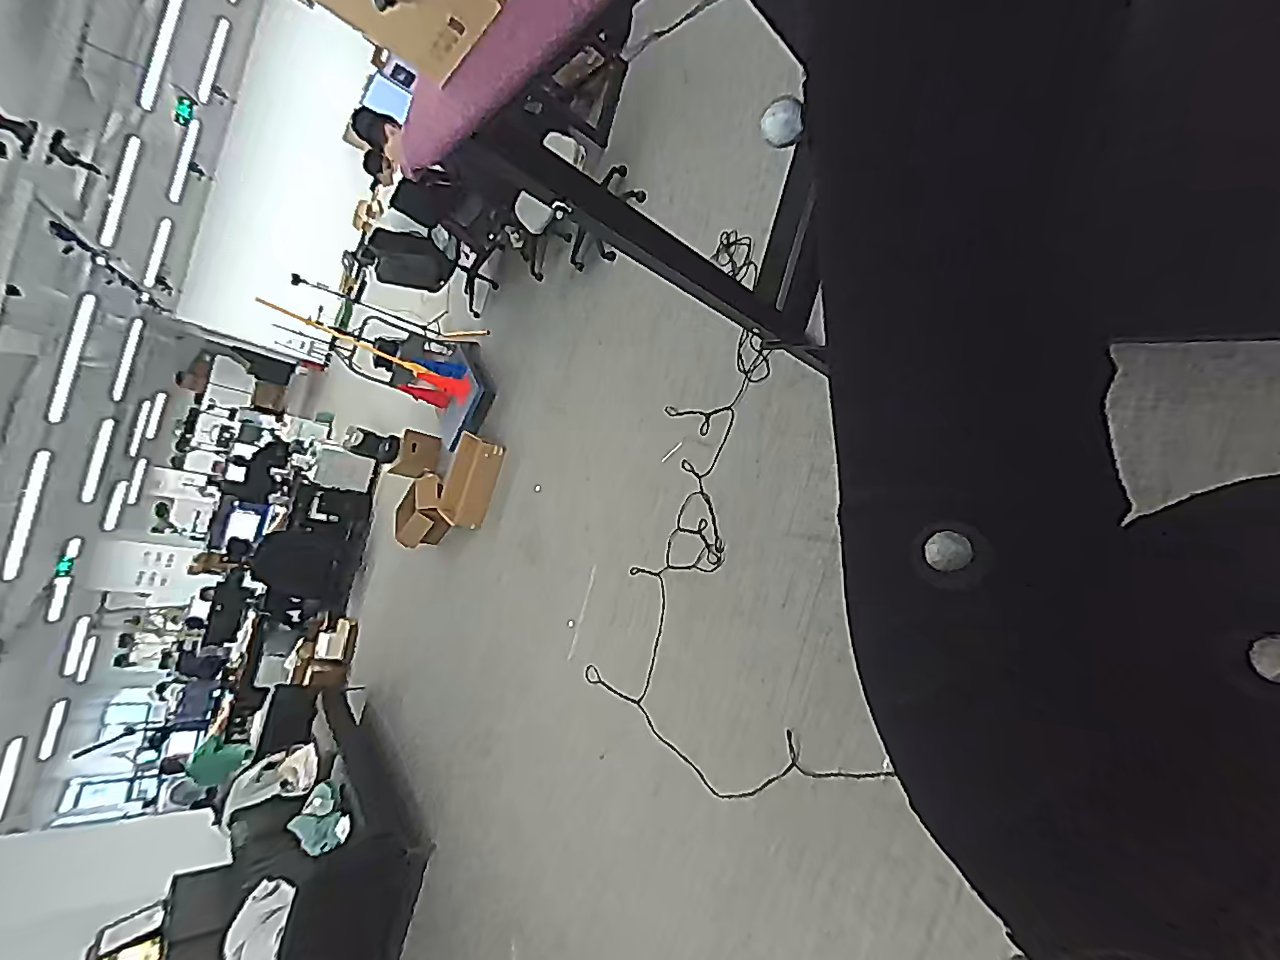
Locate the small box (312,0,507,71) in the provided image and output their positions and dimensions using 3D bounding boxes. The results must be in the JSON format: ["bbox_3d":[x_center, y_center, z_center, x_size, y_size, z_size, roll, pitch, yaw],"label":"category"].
[{"bbox_3d":[-0.203,-0.514,0.479,0.168,0.176,0.179,13,88,50],"label":"small box"}]
